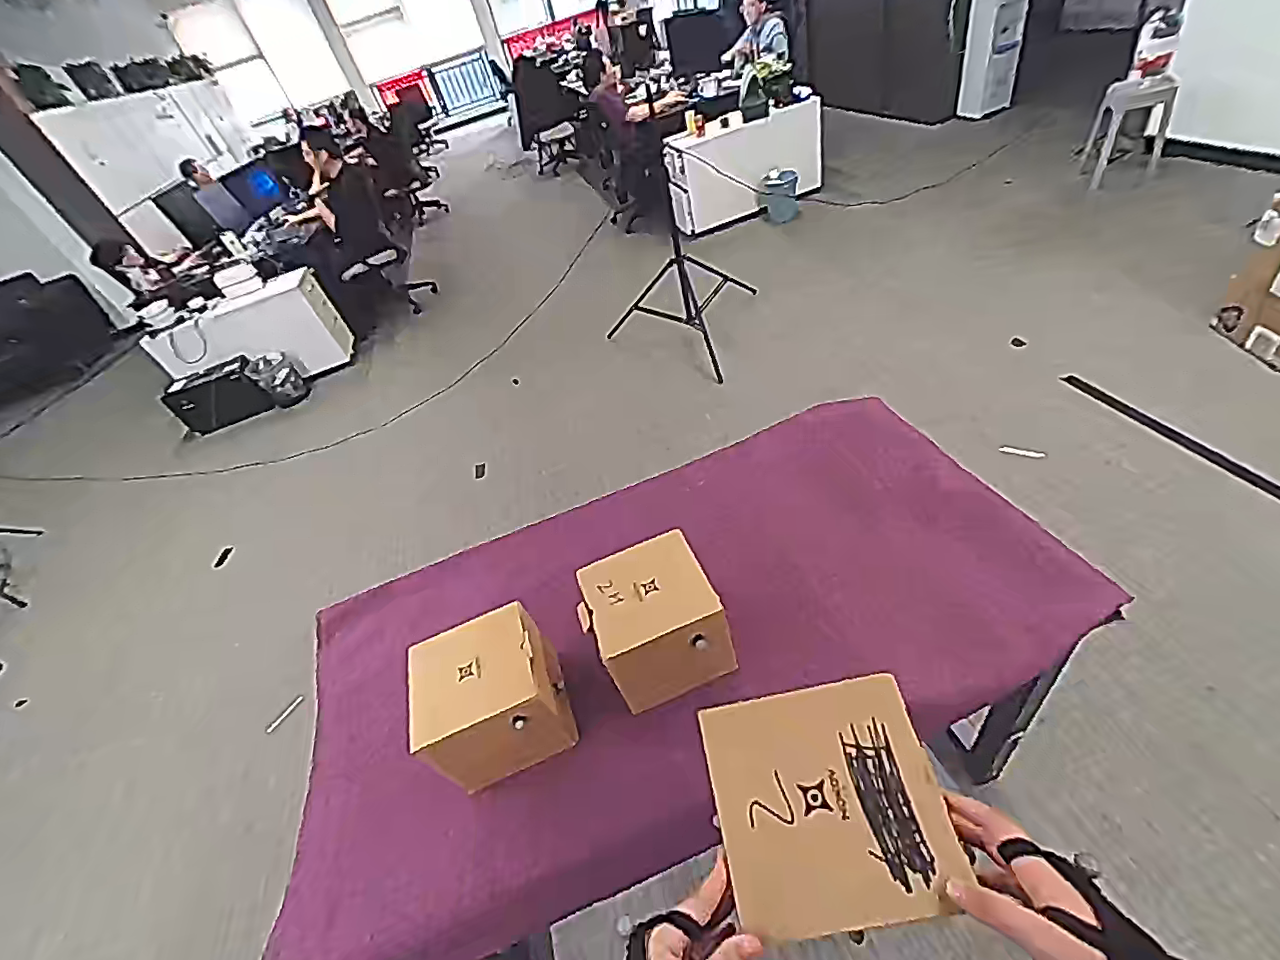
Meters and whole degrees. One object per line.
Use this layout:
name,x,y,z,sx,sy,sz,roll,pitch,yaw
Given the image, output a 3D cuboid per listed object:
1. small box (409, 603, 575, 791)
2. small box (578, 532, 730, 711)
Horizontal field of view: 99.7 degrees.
small box,-0.217,0.323,0.799,0.179,0.176,0.168,-23,42,-6
small box,0.026,0.216,0.823,0.179,0.176,0.168,-23,41,-4
